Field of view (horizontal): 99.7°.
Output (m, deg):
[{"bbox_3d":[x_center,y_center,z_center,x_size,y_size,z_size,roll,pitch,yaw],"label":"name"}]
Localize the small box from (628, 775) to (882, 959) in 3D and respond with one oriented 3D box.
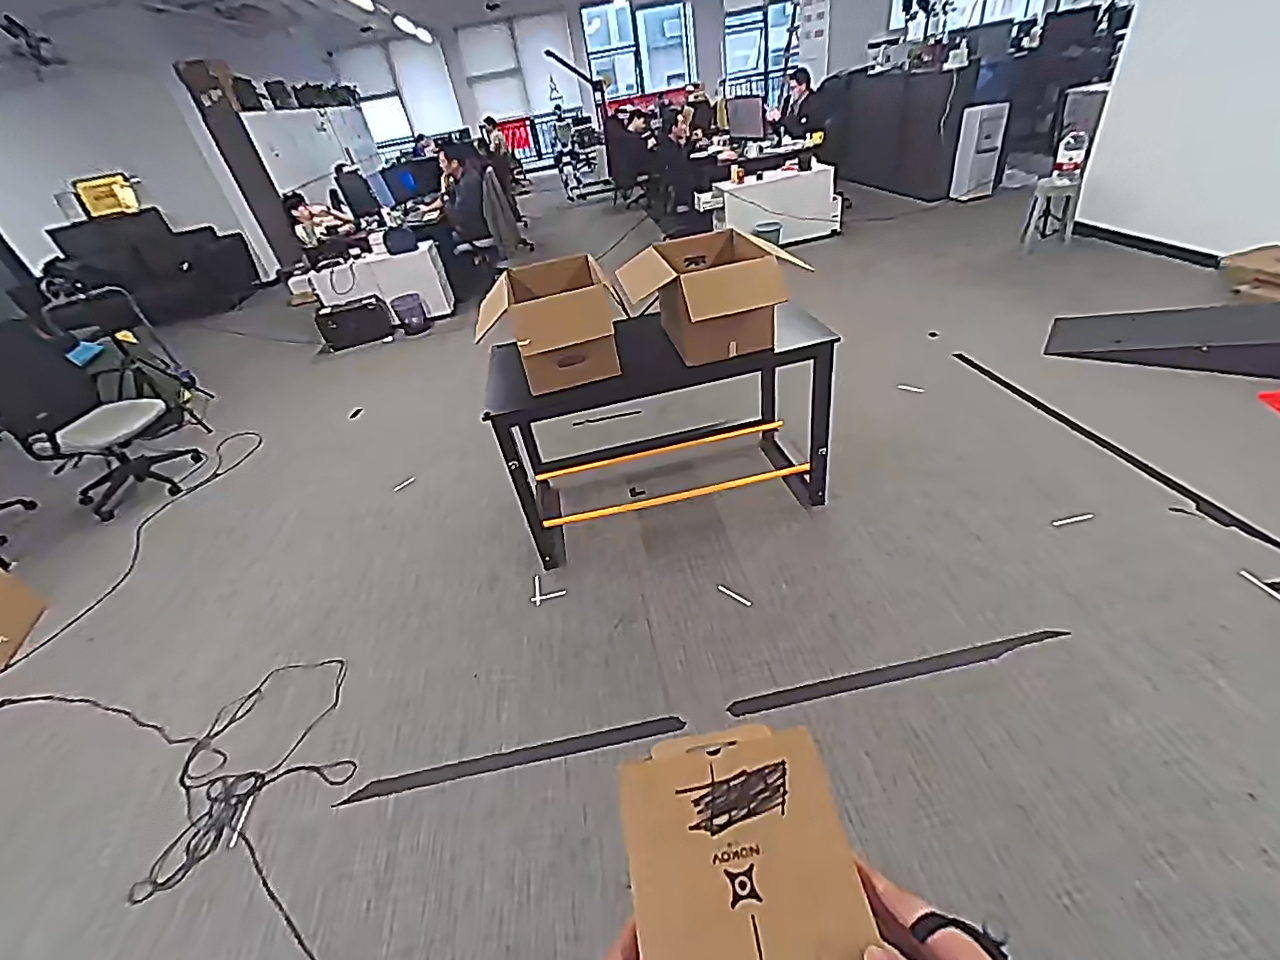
[{"bbox_3d":[0.088,0.370,0.443,0.168,0.176,0.179,-11,49,-1],"label":"small box"}]
